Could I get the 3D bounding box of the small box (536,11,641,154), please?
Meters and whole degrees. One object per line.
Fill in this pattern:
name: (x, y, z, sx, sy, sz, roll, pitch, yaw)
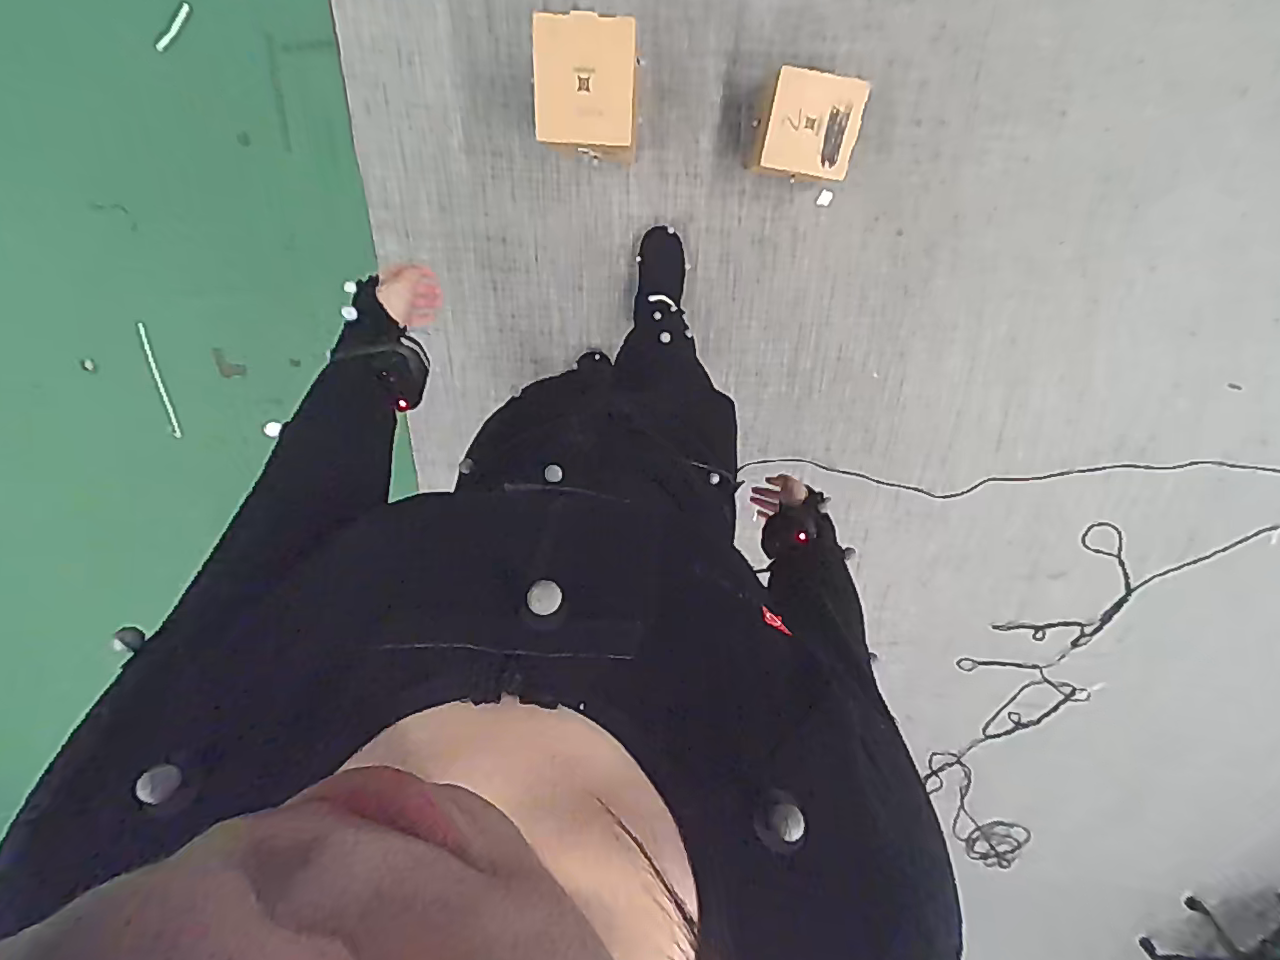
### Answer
small box: (-0.085, -0.688, 0.954, 0.168, 0.176, 0.179, 4, 118, 1)
